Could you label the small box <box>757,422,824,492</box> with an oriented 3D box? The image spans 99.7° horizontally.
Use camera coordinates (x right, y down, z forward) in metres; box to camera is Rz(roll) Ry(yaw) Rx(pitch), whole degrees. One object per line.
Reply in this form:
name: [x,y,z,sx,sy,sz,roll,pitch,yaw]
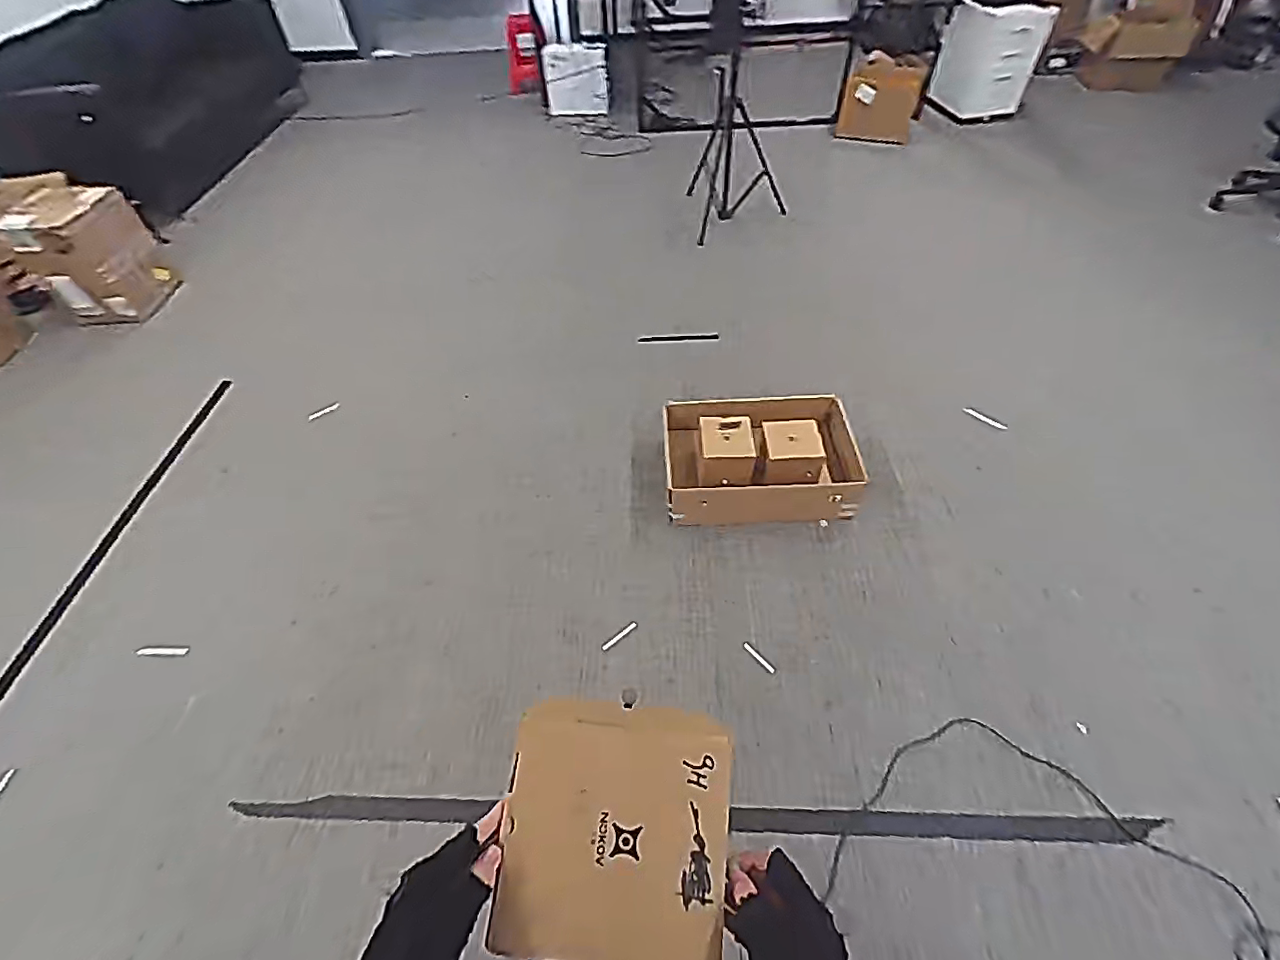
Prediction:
small box: [0.494,-0.075,1.802,0.179,0.176,0.168,-3,51,3]
